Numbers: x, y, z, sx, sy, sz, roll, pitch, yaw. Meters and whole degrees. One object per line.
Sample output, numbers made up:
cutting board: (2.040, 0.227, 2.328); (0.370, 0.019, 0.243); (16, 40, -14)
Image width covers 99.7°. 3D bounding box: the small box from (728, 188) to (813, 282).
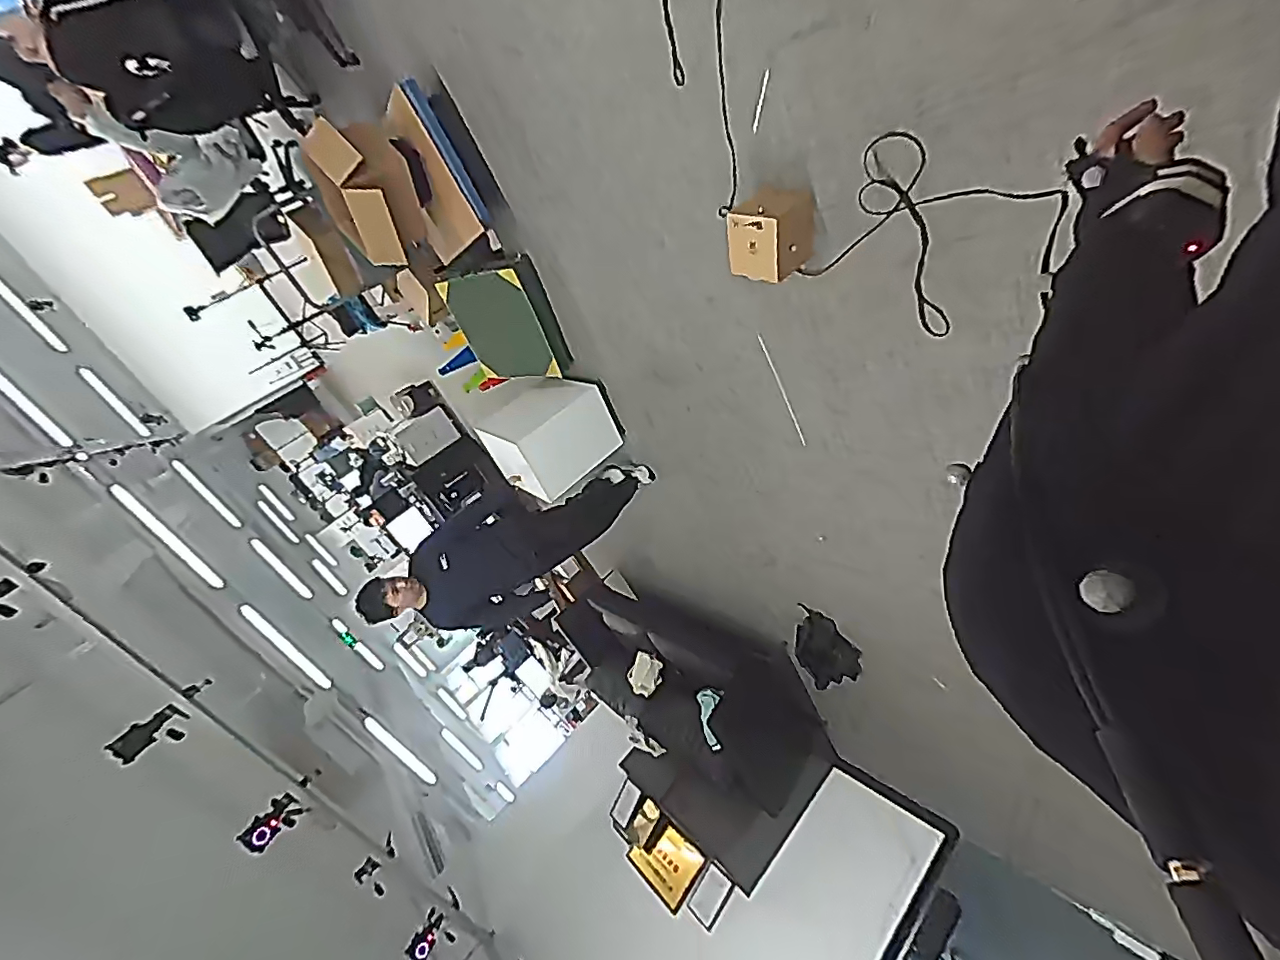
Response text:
small box: (0.367, -0.685, 1.506); (0.168, 0.176, 0.179); (30, 149, 37)
